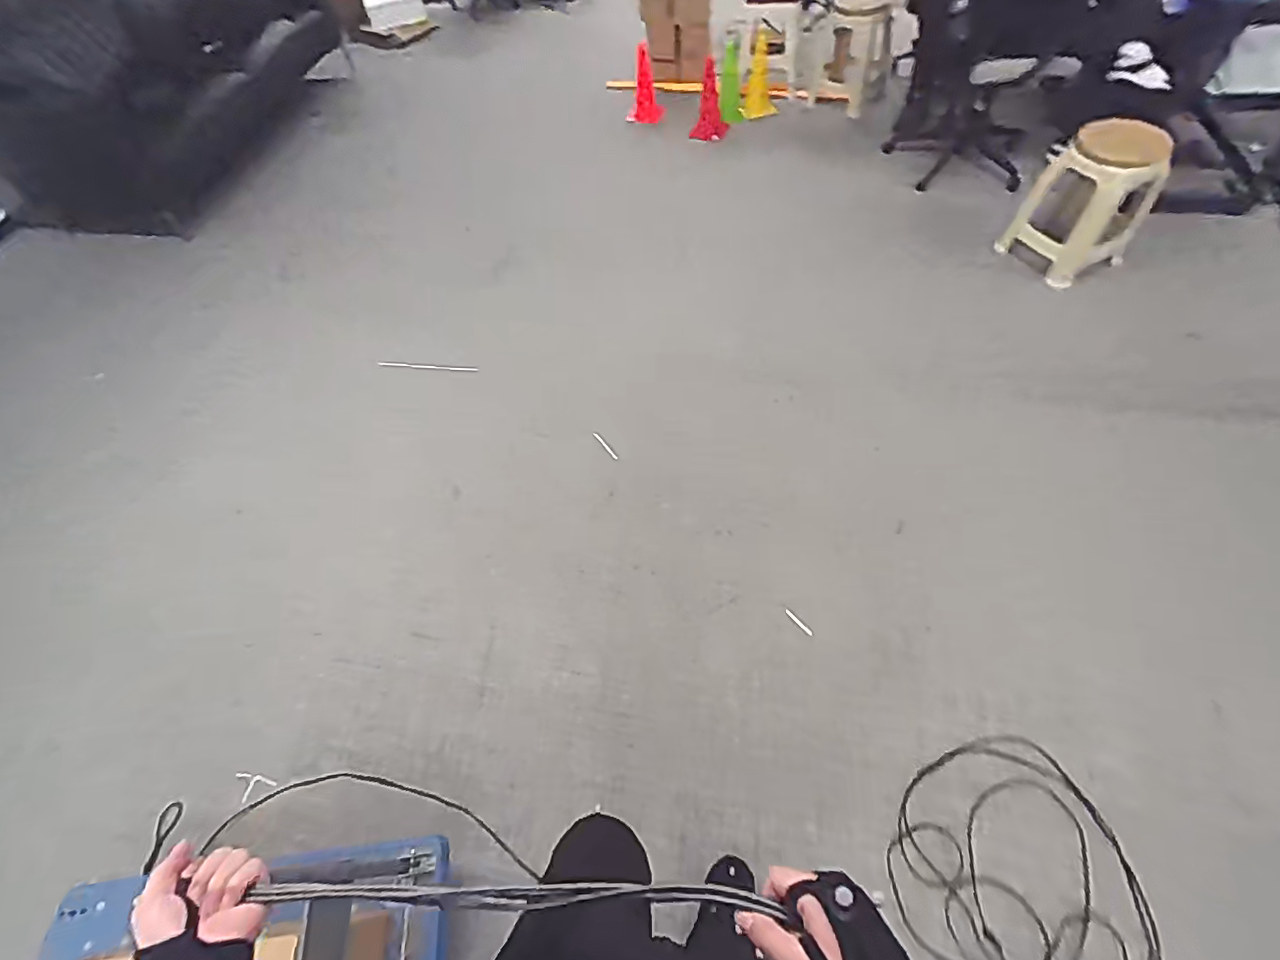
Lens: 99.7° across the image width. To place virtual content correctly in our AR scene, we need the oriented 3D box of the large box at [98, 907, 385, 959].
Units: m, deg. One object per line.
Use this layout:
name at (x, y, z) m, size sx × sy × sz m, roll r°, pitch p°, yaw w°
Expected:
large box at (-0.718, 0.977, 0.932) m, size 0.408 × 0.320 × 0.320 m, roll -9°, pitch 57°, yaw 2°
